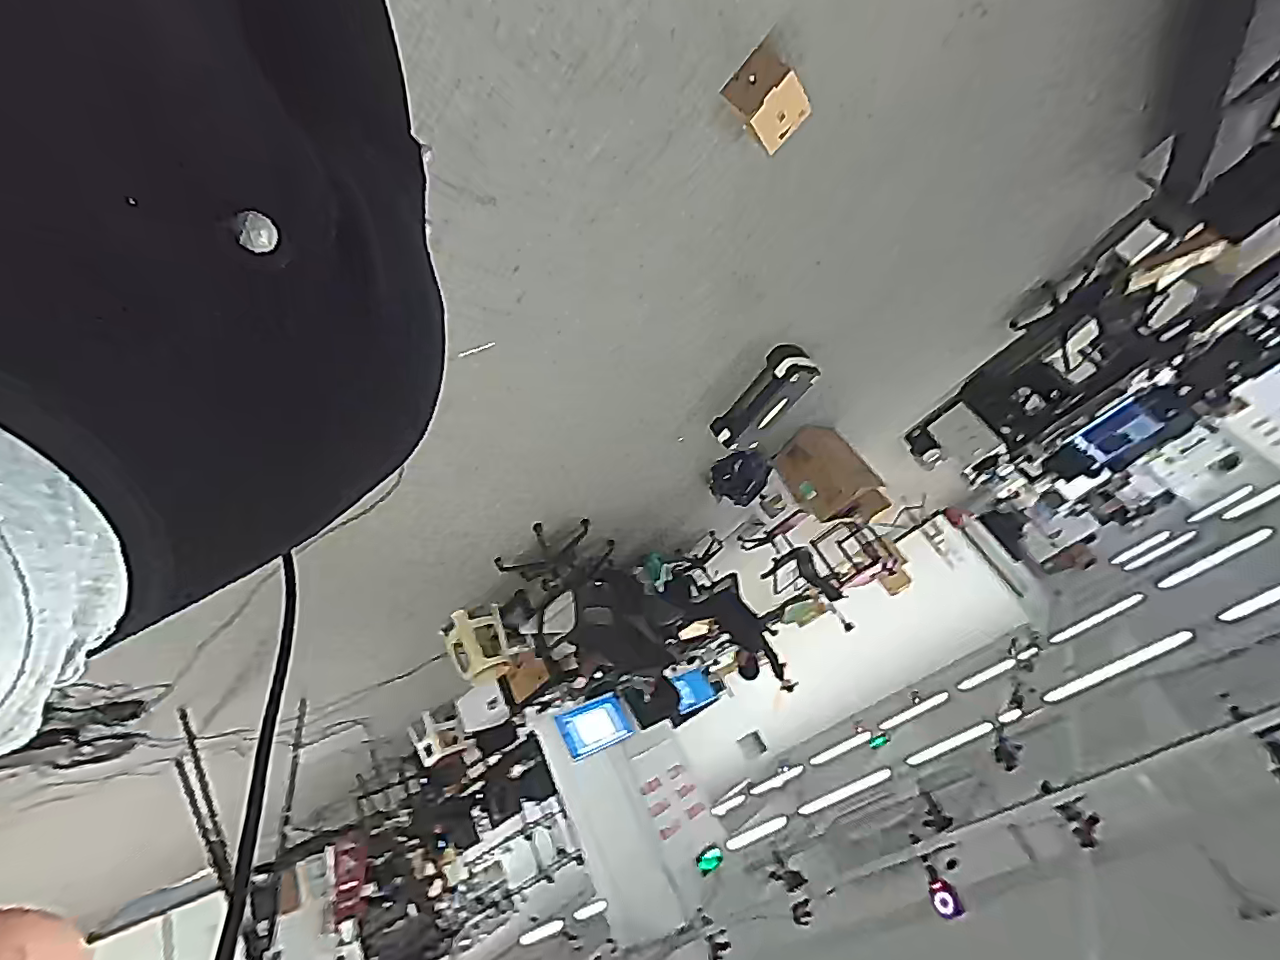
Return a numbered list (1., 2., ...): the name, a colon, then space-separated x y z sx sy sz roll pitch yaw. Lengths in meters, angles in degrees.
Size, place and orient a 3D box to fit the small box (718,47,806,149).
1. small box: 0.367 -1.165 1.643 0.168 0.176 0.179 -43 152 23
